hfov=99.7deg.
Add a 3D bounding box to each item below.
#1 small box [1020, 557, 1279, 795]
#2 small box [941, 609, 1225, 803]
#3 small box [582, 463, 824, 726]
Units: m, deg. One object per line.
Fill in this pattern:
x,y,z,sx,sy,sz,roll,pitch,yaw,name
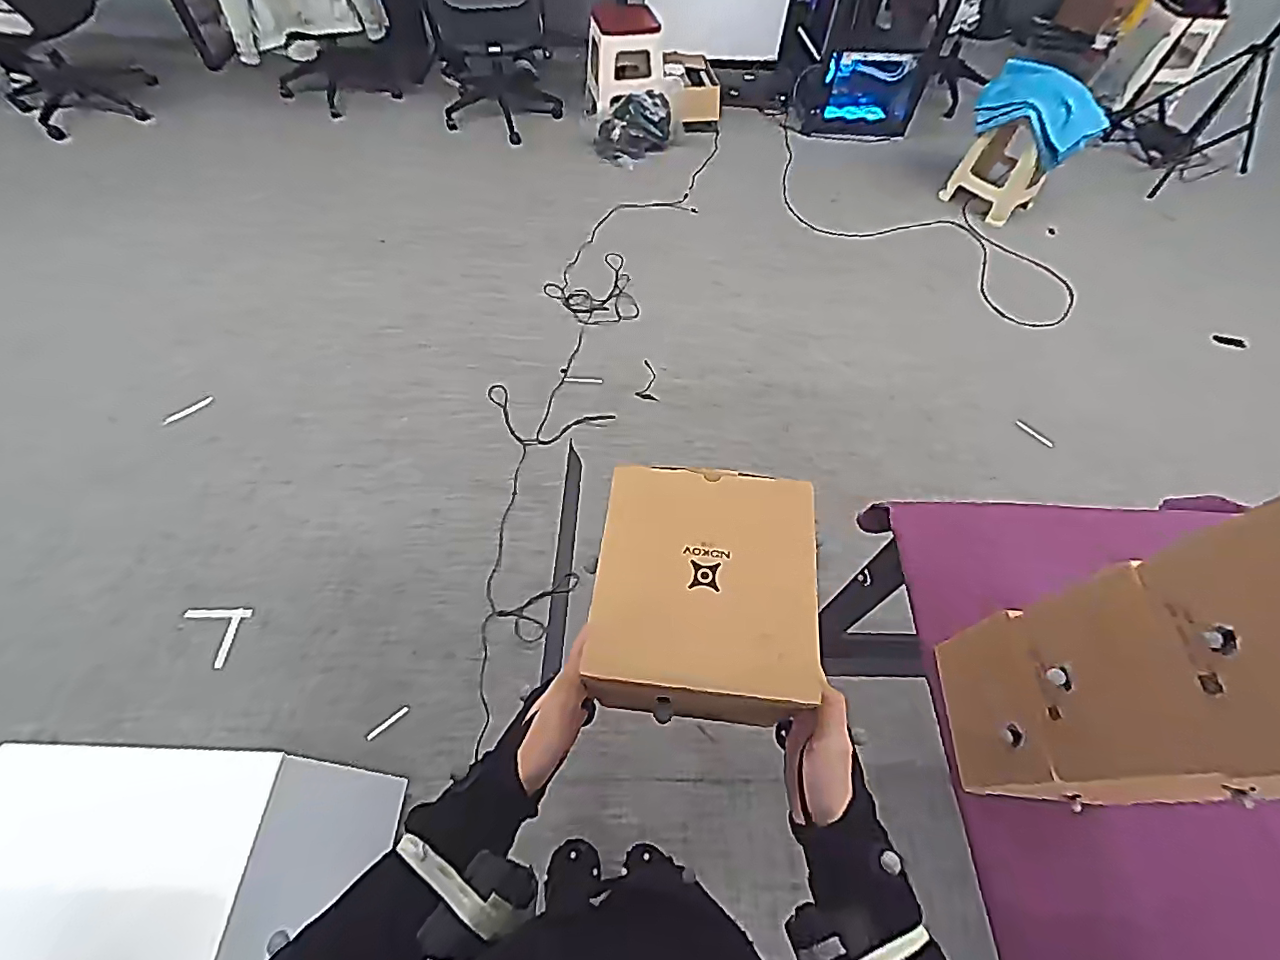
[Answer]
0.500,0.184,0.489,0.179,0.176,0.168,4,58,1,small box
0.485,0.268,0.629,0.168,0.176,0.179,5,57,1,small box
0.054,0.106,0.471,0.168,0.176,0.179,4,59,5,small box
